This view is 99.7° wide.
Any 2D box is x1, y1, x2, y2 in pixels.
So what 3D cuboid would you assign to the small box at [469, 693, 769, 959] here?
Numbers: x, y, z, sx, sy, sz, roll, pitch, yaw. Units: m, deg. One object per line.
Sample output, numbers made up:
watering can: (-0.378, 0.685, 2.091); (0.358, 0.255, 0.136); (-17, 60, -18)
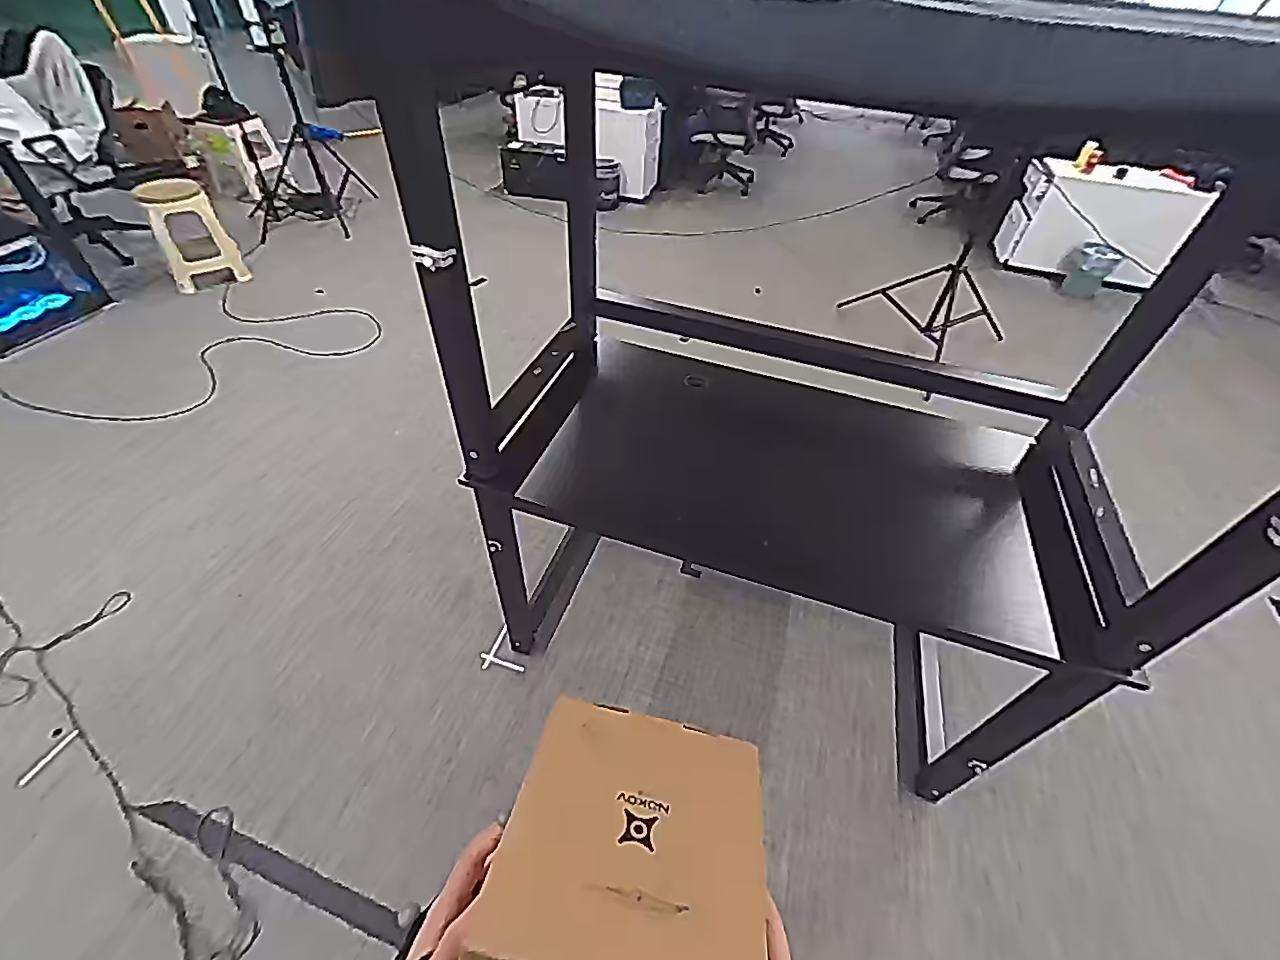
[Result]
small box: (-0.014, 0.295, 0.386); (0.168, 0.176, 0.179); (12, 26, 4)
